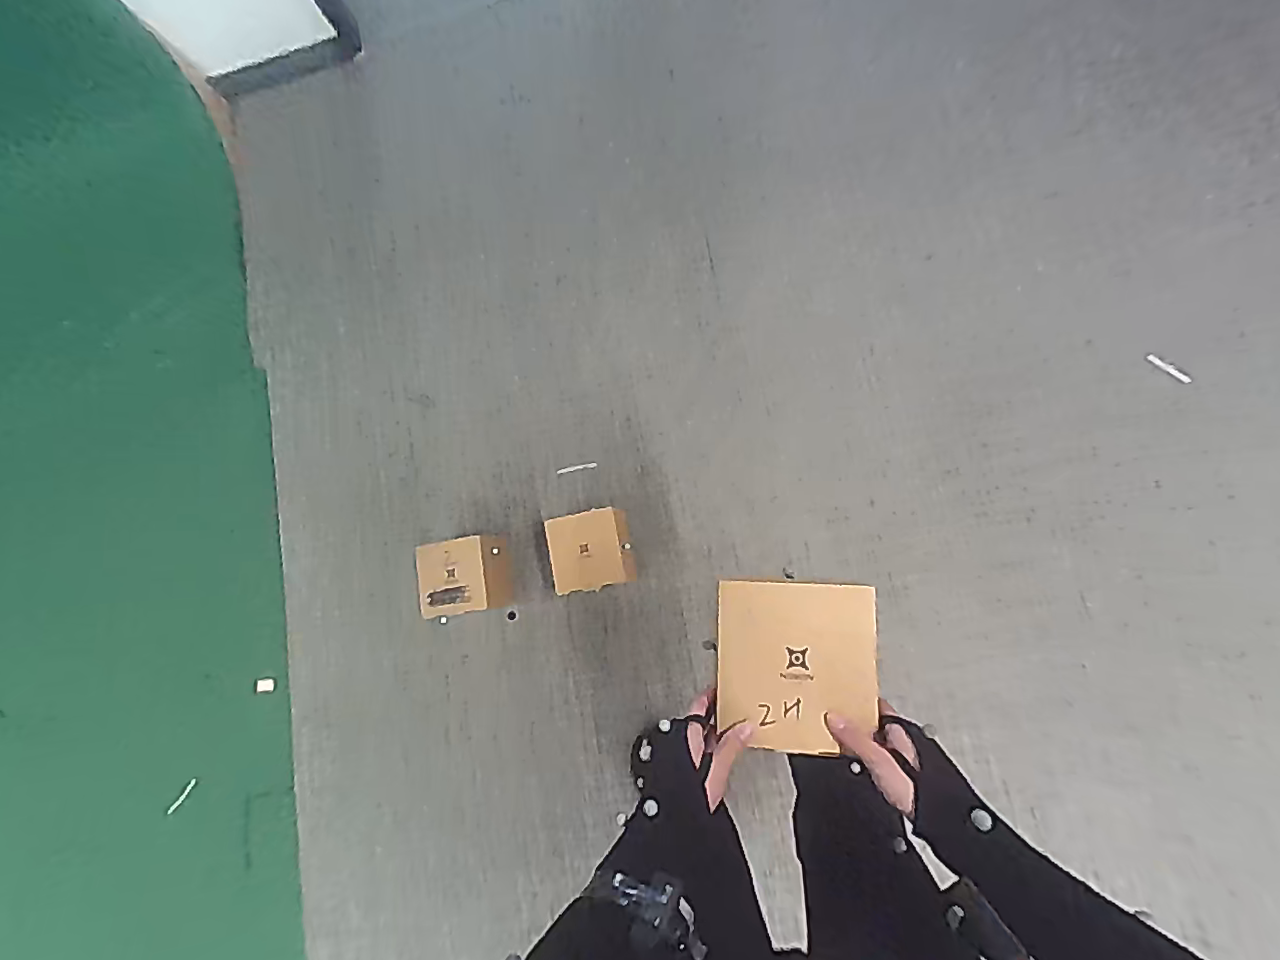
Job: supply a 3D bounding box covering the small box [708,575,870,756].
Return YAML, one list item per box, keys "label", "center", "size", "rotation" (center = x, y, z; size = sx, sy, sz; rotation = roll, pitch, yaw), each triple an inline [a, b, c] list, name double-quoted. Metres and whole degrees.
- label: "small box"
  center: [0.168, 0.208, 0.655]
  size: [0.168, 0.176, 0.179]
  rotation: [1, 83, 7]

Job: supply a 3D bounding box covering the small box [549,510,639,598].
- label: "small box"
  center: [-0.107, 0.179, 1.313]
  size: [0.168, 0.176, 0.179]
  rotation: [-13, 82, 7]
